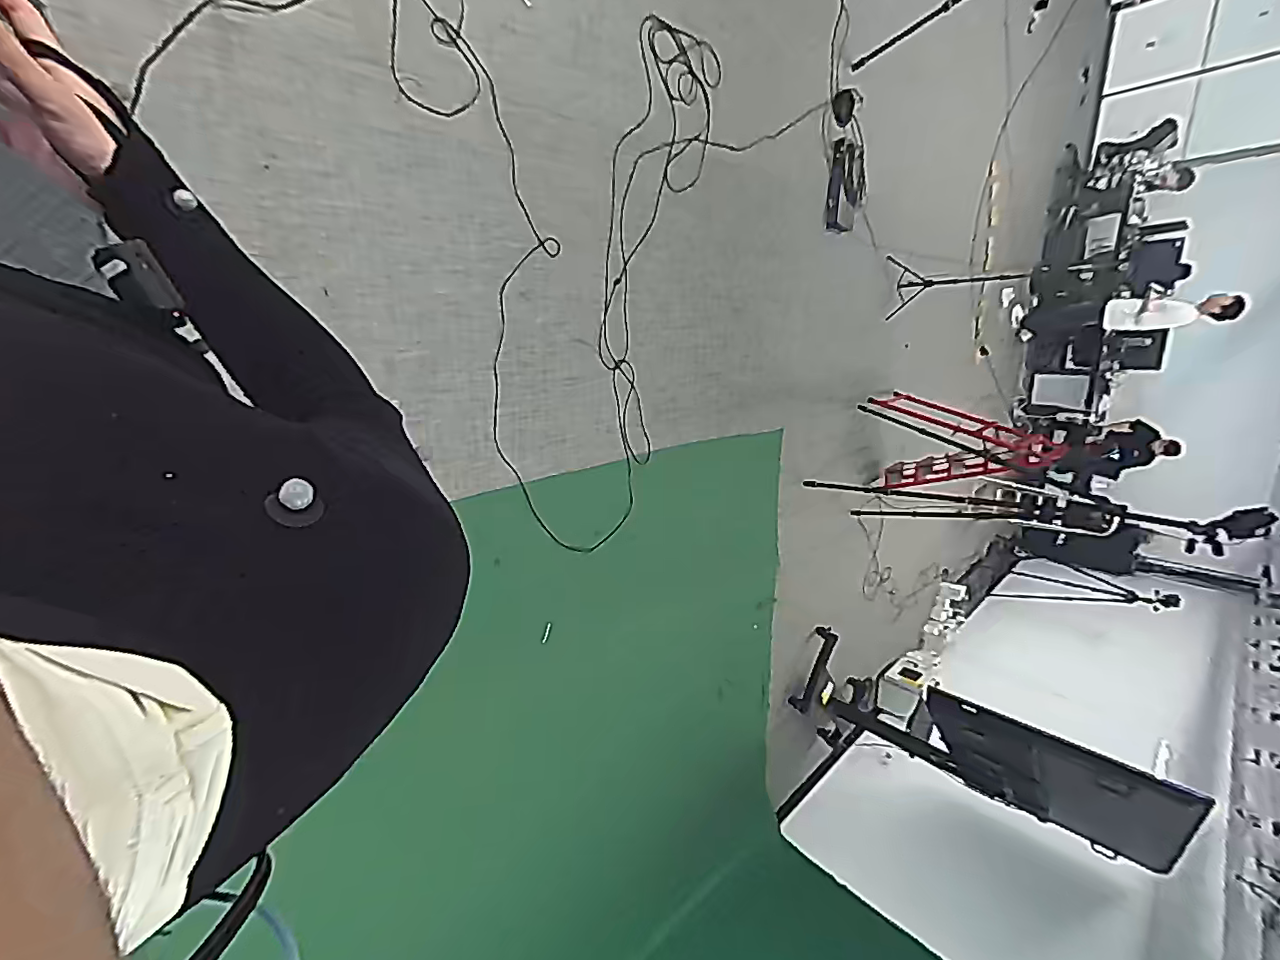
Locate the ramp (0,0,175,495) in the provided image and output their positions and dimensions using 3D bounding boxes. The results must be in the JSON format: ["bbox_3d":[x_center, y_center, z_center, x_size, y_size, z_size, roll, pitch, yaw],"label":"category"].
[{"bbox_3d":[-1.346,-0.462,1.036,0.509,0.206,0.991,-18,112,-38],"label":"ramp"}]
